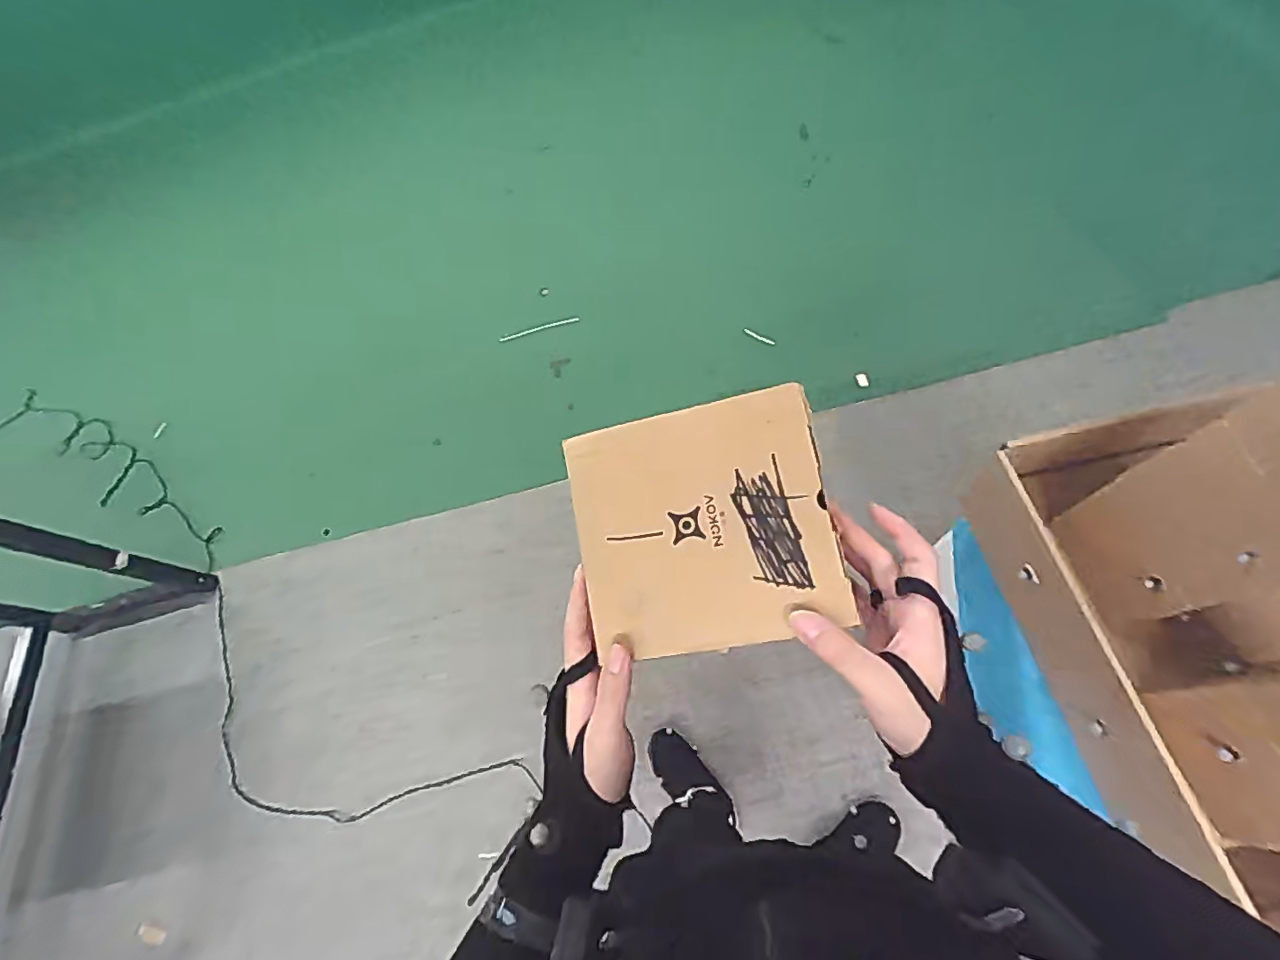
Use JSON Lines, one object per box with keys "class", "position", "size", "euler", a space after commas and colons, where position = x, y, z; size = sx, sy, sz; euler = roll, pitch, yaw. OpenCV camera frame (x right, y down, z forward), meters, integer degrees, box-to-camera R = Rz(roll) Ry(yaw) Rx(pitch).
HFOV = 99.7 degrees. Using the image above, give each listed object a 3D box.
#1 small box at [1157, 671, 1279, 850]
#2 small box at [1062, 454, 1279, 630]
{"class": "small box", "position": [0.777, 0.319, 0.624], "size": [0.168, 0.176, 0.179], "euler": [-16, 63, 2]}
{"class": "small box", "position": [0.737, 0.092, 0.739], "size": [0.168, 0.176, 0.179], "euler": [-14, 66, 3]}
